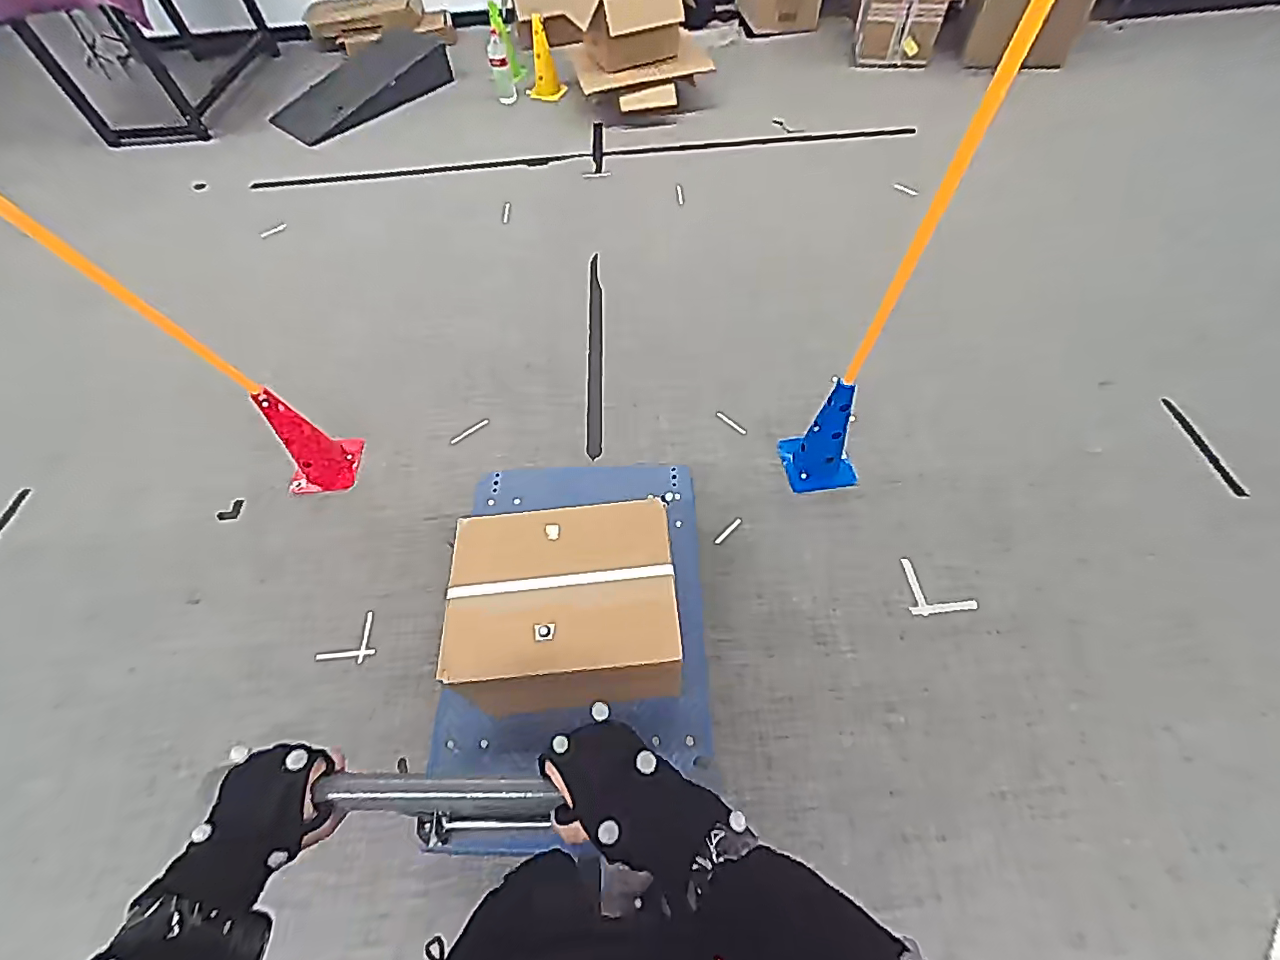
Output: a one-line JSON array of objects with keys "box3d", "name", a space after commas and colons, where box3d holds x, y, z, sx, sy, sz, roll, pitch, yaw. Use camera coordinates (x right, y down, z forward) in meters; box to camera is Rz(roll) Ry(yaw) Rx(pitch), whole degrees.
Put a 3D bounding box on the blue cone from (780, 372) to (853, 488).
[{"box3d": [0.533, -0.151, 1.520, 0.193, 0.380, 0.192, -7, 56, -2], "name": "blue cone"}]
